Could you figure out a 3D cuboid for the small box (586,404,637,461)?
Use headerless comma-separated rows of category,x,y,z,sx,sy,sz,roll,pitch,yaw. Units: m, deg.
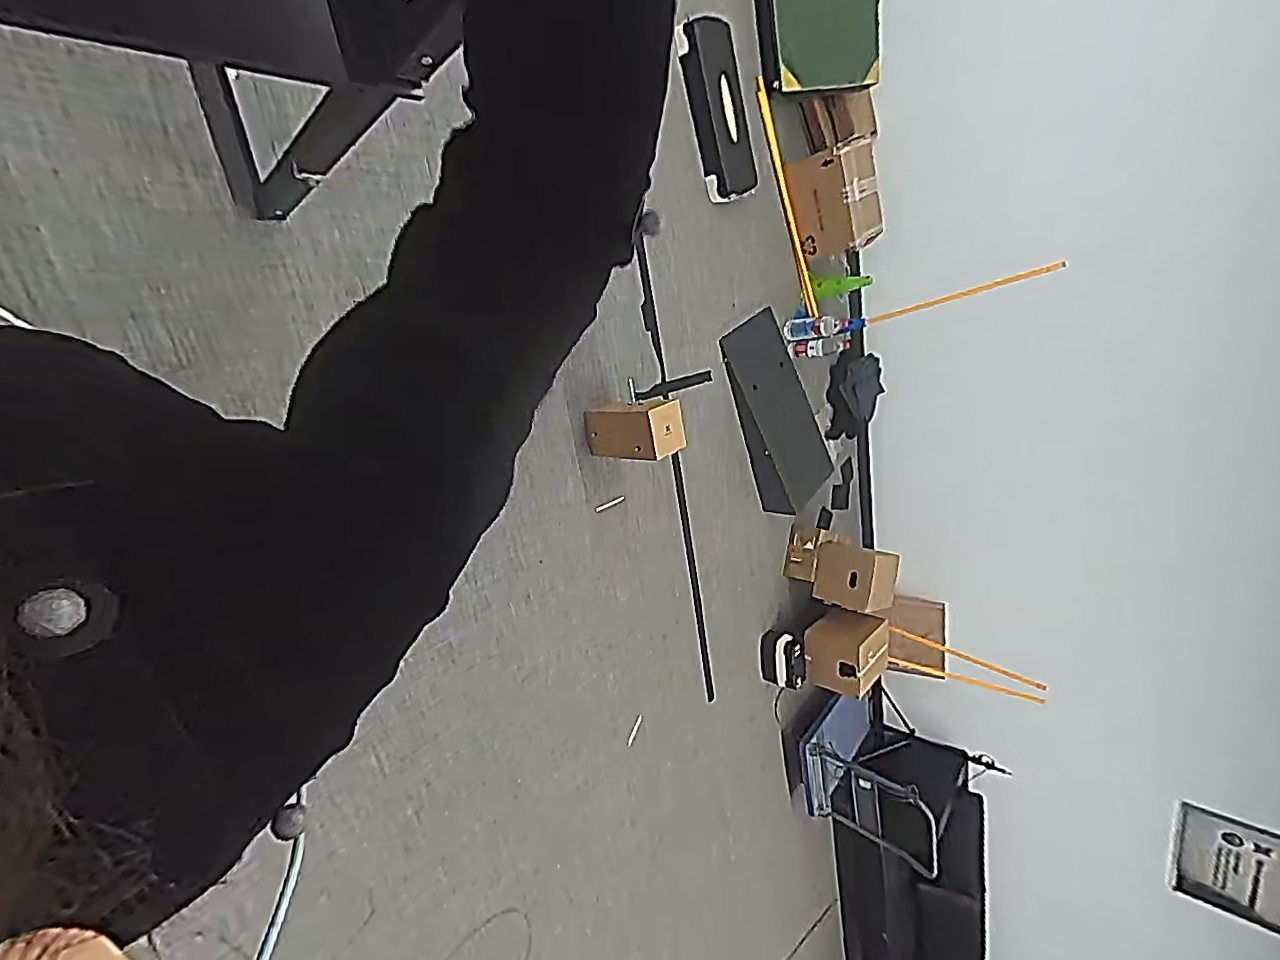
small box,-0.079,-0.180,1.996,0.168,0.176,0.179,-24,113,-42

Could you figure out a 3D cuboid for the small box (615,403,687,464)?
small box,0.037,-0.167,1.881,0.168,0.176,0.179,-27,113,-42
